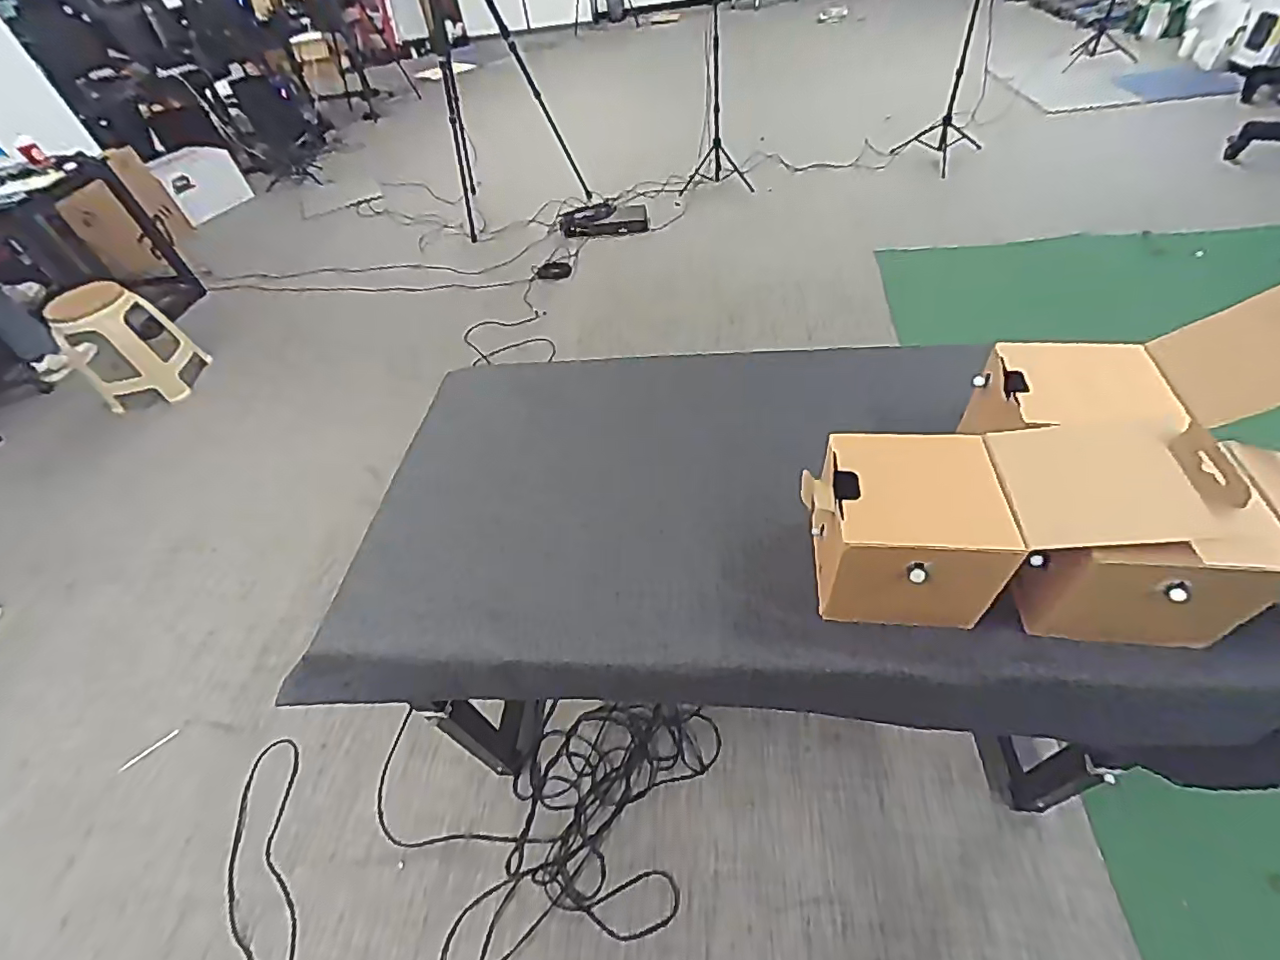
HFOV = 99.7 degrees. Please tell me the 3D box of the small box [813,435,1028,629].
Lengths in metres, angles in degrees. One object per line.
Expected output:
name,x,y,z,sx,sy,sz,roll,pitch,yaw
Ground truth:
small box,0.311,0.064,0.645,0.179,0.176,0.168,1,49,11
